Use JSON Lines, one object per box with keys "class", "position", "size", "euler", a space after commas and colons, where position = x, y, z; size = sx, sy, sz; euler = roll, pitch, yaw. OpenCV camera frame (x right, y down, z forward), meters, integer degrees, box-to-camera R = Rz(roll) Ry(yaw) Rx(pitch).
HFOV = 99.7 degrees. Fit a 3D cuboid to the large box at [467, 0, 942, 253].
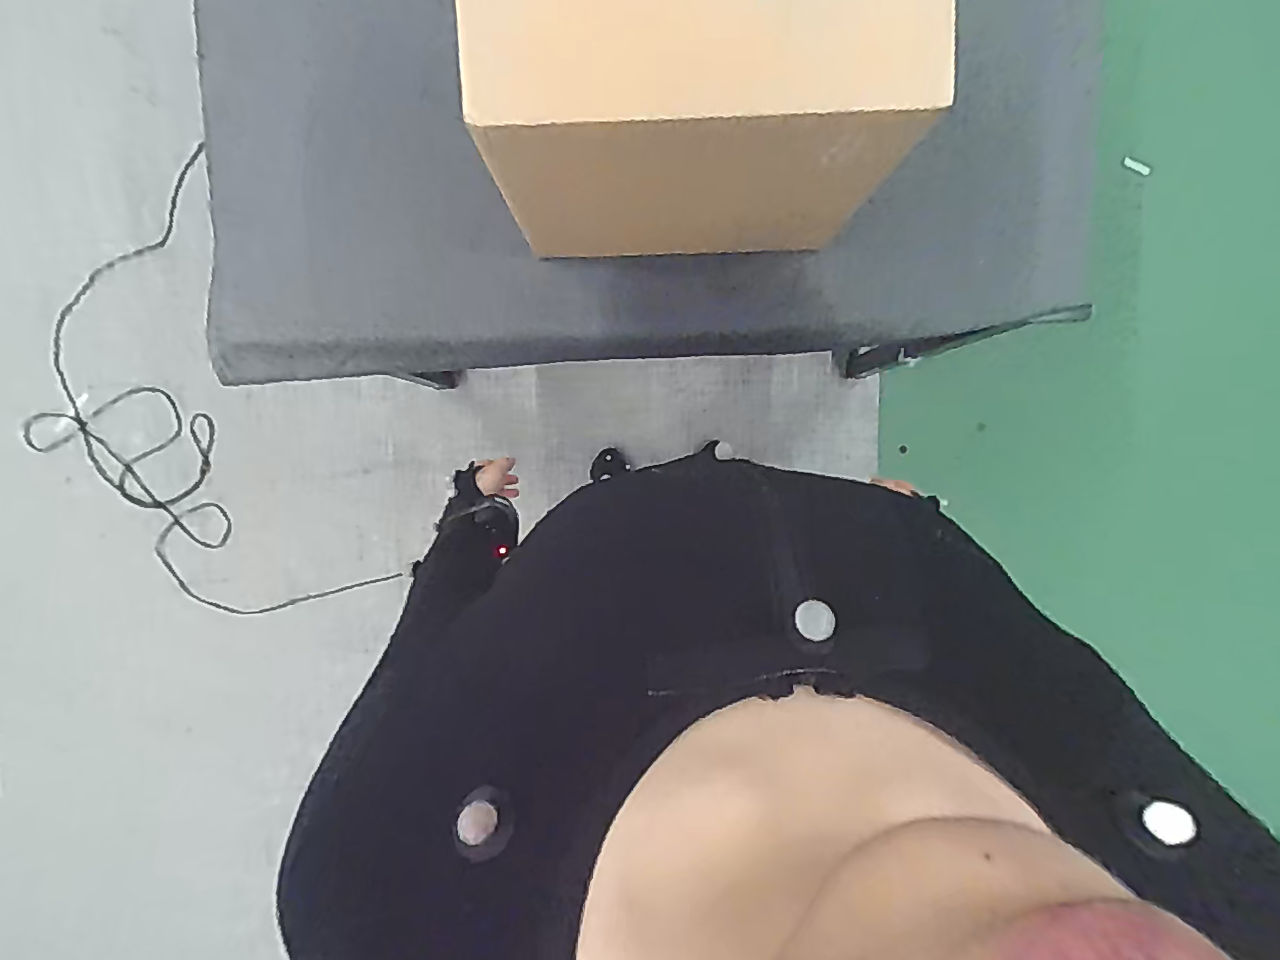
{"class": "large box", "position": [0.047, -0.470, 0.597], "size": [0.408, 0.320, 0.320], "euler": [-3, 94, 0]}
